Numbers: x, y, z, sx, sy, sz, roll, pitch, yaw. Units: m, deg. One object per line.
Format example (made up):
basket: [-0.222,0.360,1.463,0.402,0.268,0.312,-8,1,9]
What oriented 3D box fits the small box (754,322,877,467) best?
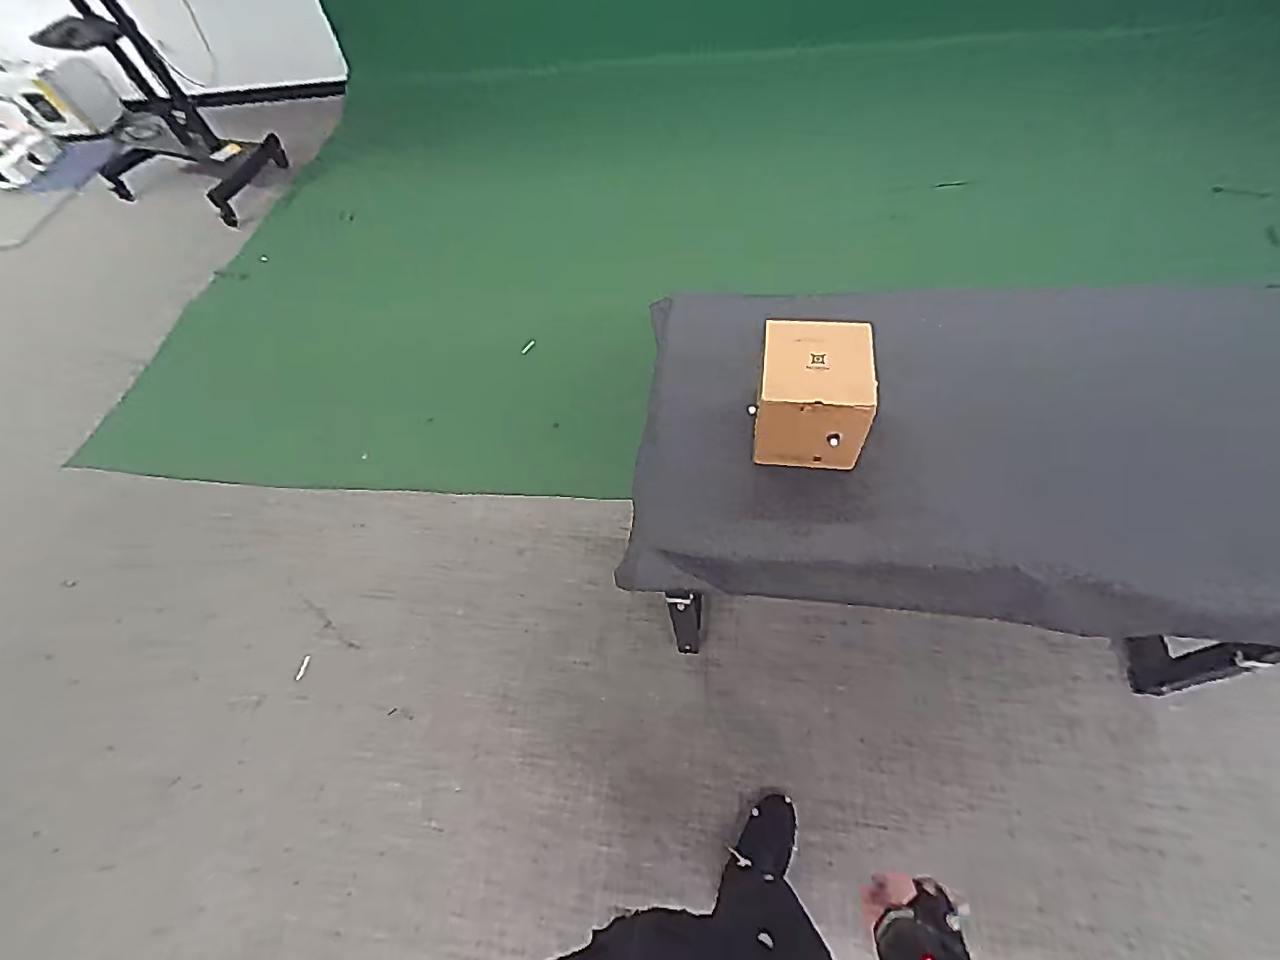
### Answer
small box: [0.284,-0.138,0.903,0.168,0.176,0.179,5,58,8]
